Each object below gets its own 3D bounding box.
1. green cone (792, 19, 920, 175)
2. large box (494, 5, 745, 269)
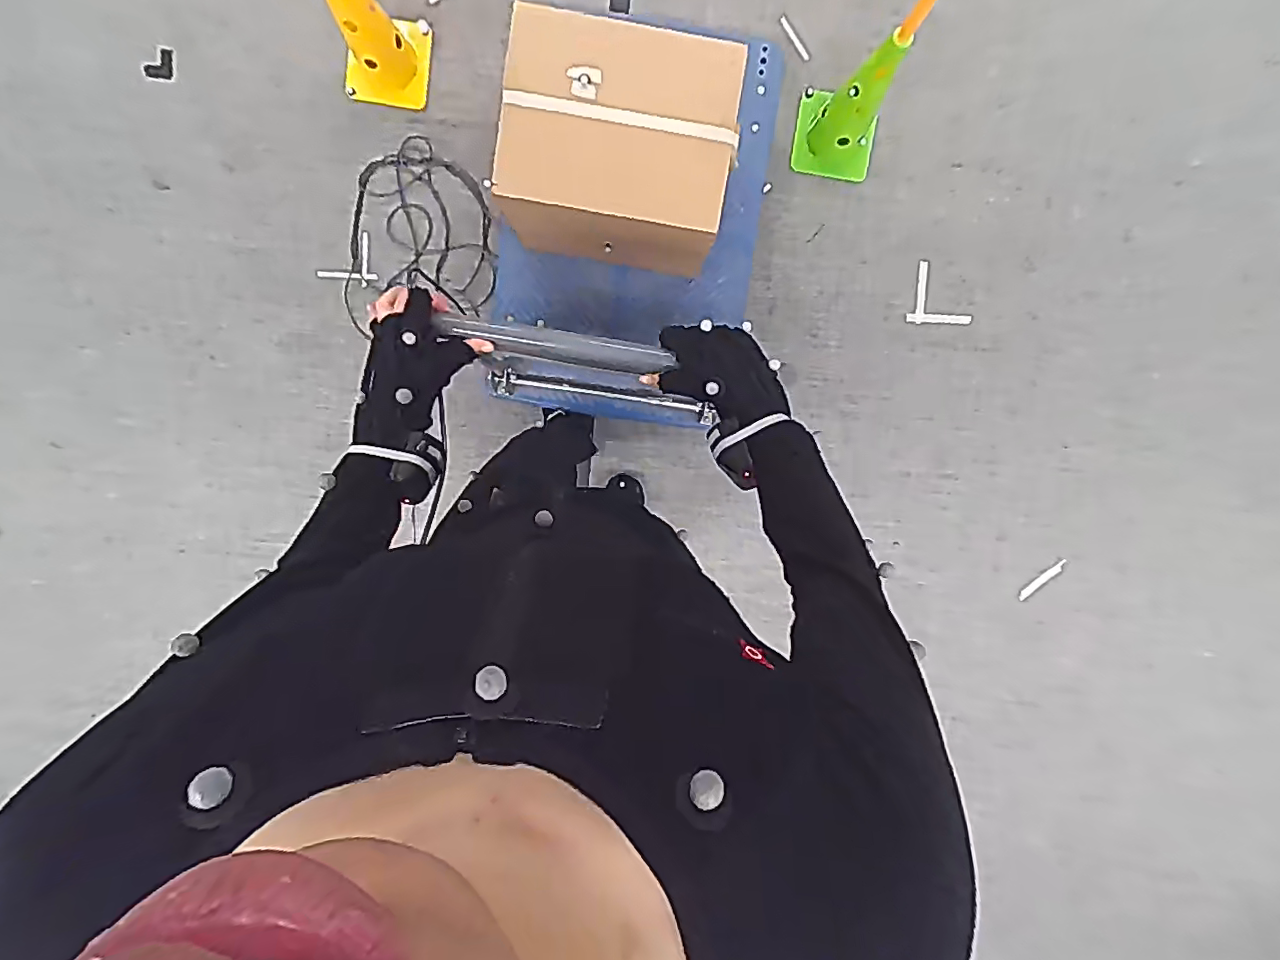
[{"bbox_3d":[0.503,-0.874,1.206,0.202,0.368,0.200,8,96,-3],"label":"green cone"},{"bbox_3d":[-0.037,-0.640,1.077,0.408,0.320,0.320,9,96,-1],"label":"large box"}]
